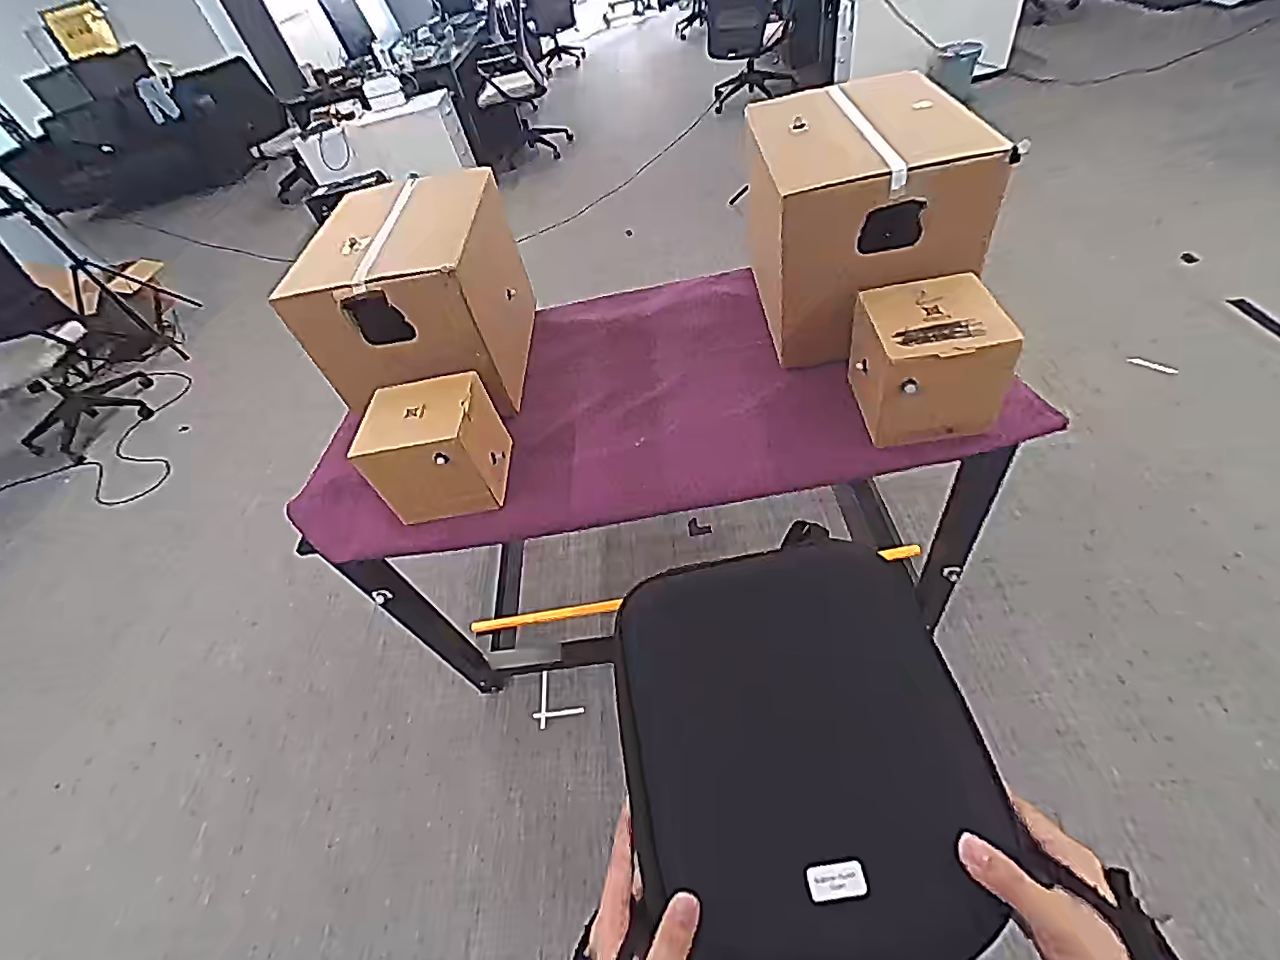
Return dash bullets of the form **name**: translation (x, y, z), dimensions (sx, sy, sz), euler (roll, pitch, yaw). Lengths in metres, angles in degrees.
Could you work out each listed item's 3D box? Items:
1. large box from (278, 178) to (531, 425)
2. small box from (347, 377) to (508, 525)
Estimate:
- **large box**: translation (-0.419, -0.340, 1.084), dimensions (0.320, 0.320, 0.408), euler (-9, 51, 6)
- **small box**: translation (-0.340, -0.043, 0.903), dimensions (0.179, 0.176, 0.168), euler (-10, 47, 5)
